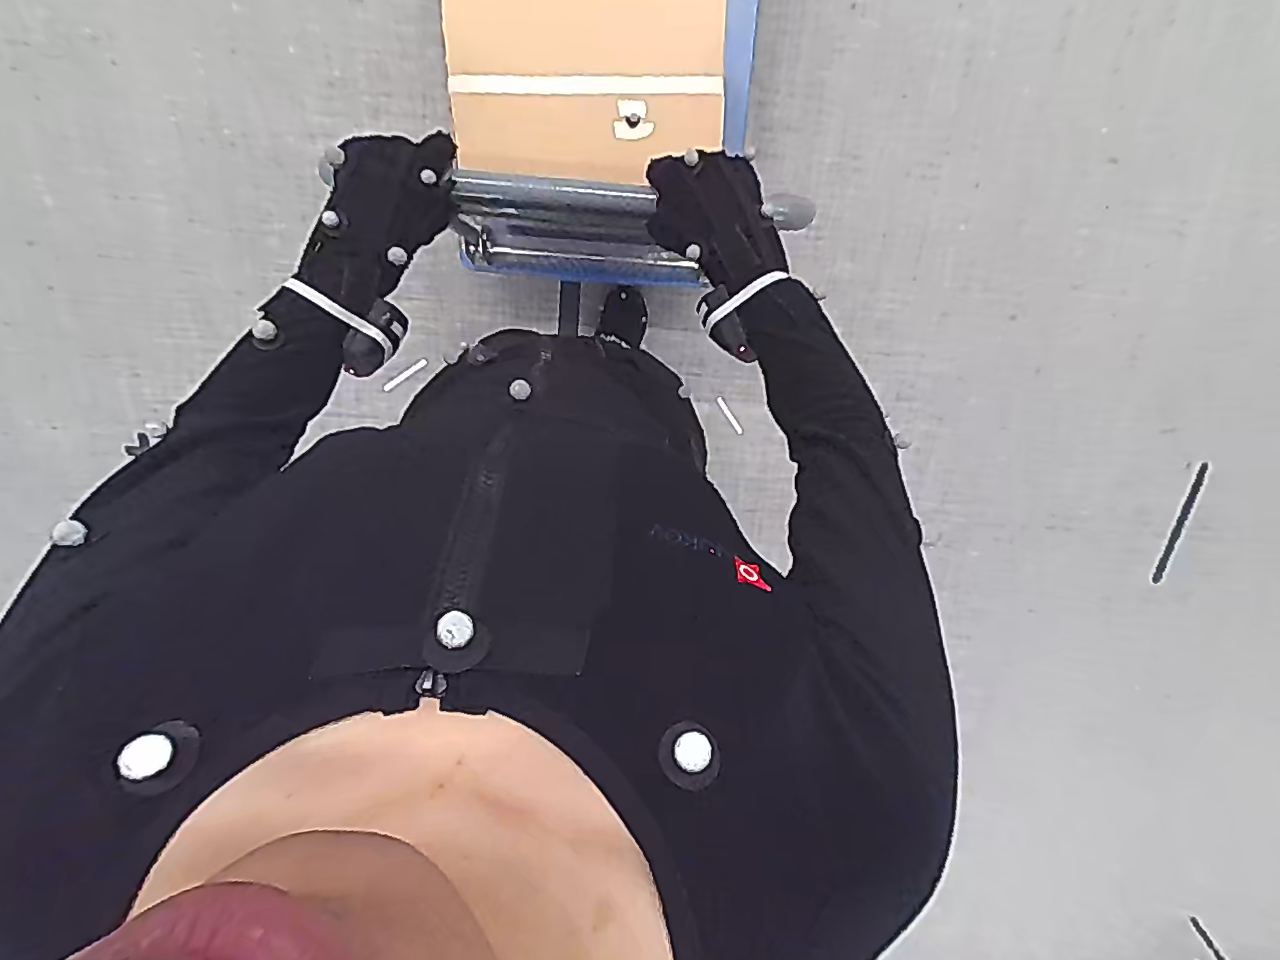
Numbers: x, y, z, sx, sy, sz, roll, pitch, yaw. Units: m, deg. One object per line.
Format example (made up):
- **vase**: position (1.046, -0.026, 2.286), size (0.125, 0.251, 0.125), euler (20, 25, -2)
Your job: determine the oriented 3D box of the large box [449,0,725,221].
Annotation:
- **large box**: position (-0.082, -0.648, 0.951), size (0.408, 0.320, 0.320), euler (-1, 110, -3)
